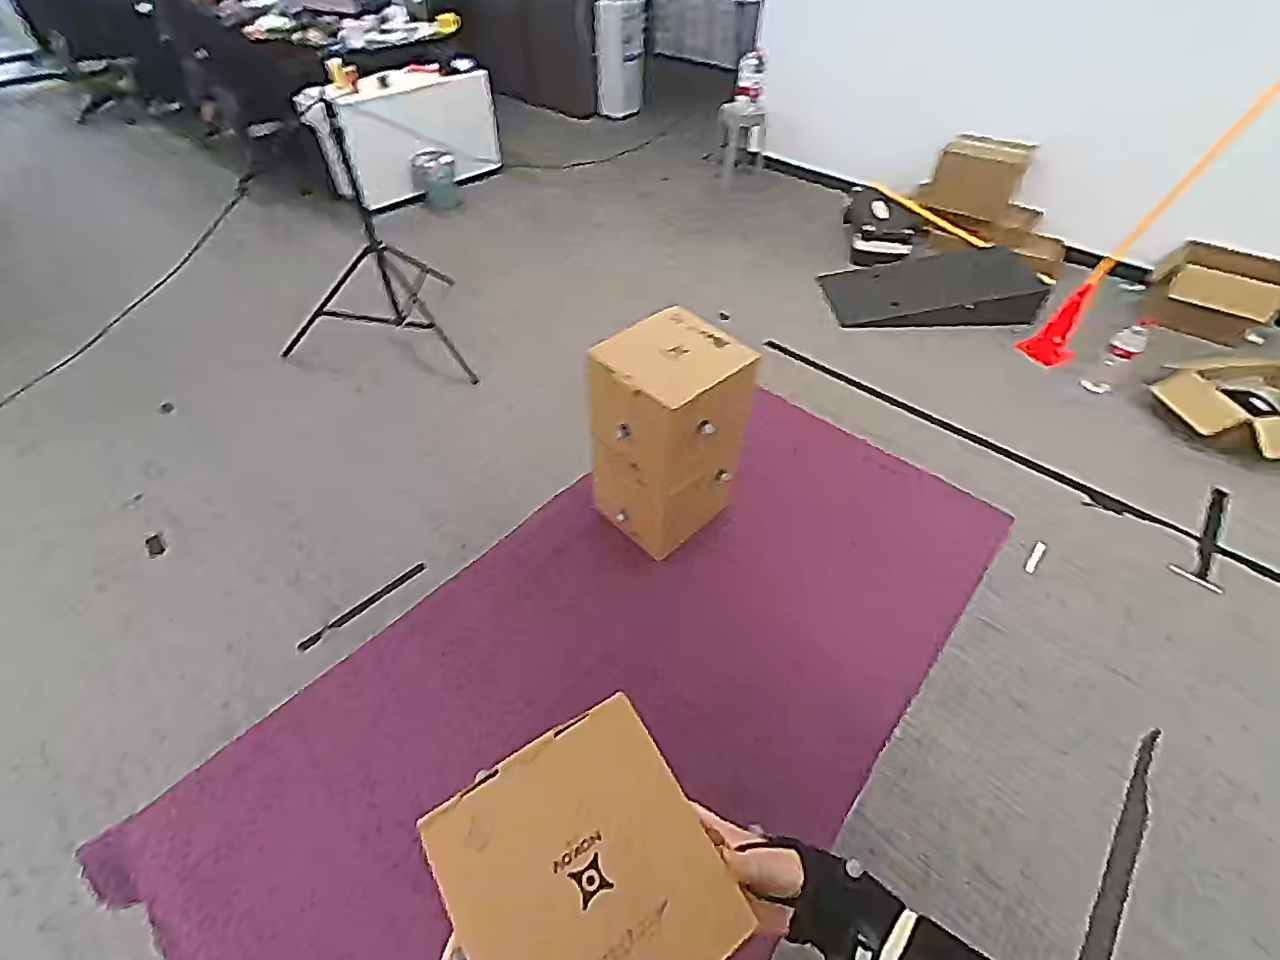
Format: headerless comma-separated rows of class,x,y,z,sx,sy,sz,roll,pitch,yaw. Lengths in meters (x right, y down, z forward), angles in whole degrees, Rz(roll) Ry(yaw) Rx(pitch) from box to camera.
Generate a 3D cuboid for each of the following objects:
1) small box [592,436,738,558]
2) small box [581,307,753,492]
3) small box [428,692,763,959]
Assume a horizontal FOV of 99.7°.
small box,0.036,-0.006,0.908,0.179,0.176,0.168,-36,59,-28
small box,0.037,-0.114,0.784,0.179,0.176,0.168,-35,59,-27
small box,-0.043,0.302,0.420,0.168,0.176,0.179,-25,64,-24
